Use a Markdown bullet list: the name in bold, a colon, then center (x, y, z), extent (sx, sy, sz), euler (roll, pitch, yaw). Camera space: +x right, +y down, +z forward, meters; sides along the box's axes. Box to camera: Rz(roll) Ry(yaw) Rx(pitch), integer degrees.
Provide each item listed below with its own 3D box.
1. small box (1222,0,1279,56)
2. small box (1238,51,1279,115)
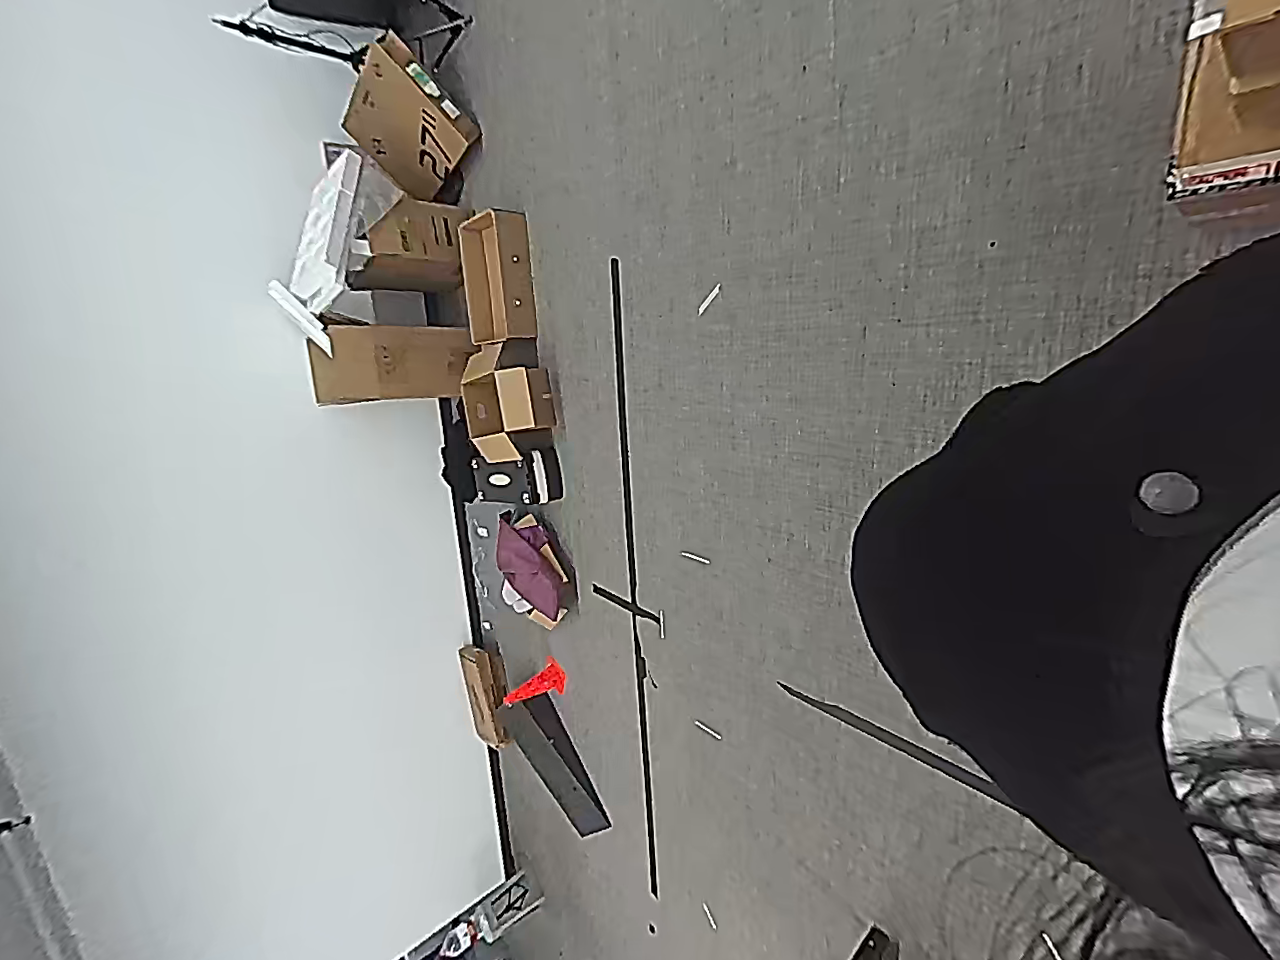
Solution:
- **small box**: center (0.592, -0.463, 0.415), extent (0.168, 0.176, 0.179), euler (13, 114, 49)
- **small box**: center (0.715, -0.489, 0.521), extent (0.168, 0.176, 0.179), euler (10, 112, 50)
